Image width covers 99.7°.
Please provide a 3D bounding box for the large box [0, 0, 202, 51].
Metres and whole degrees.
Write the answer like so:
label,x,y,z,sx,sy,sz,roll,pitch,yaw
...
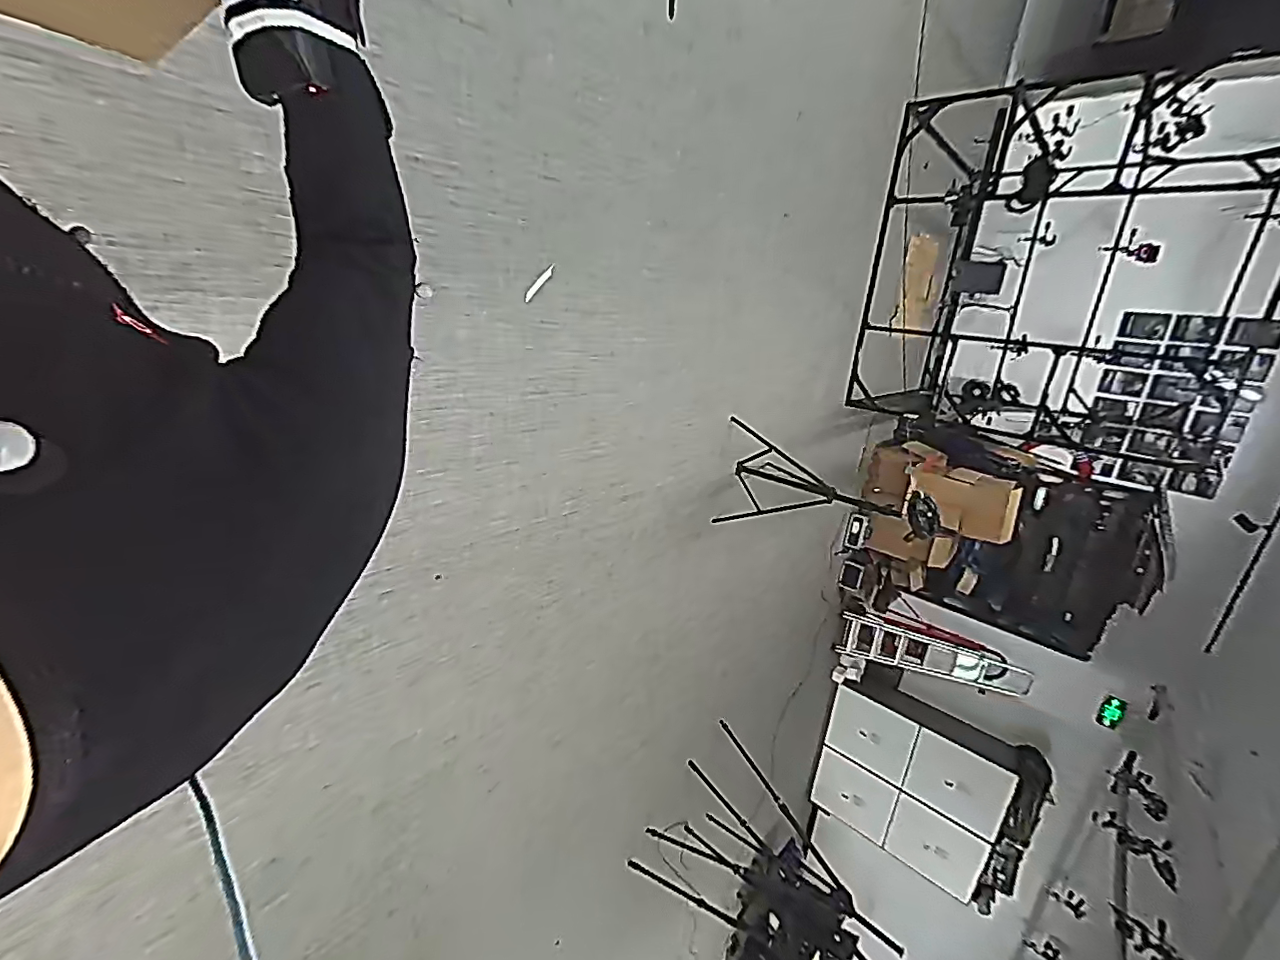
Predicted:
label,x,y,z,sx,sy,sz,roll,pitch,yaw
large box,-0.482,-0.498,0.258,0.408,0.320,0.320,-11,115,-49
